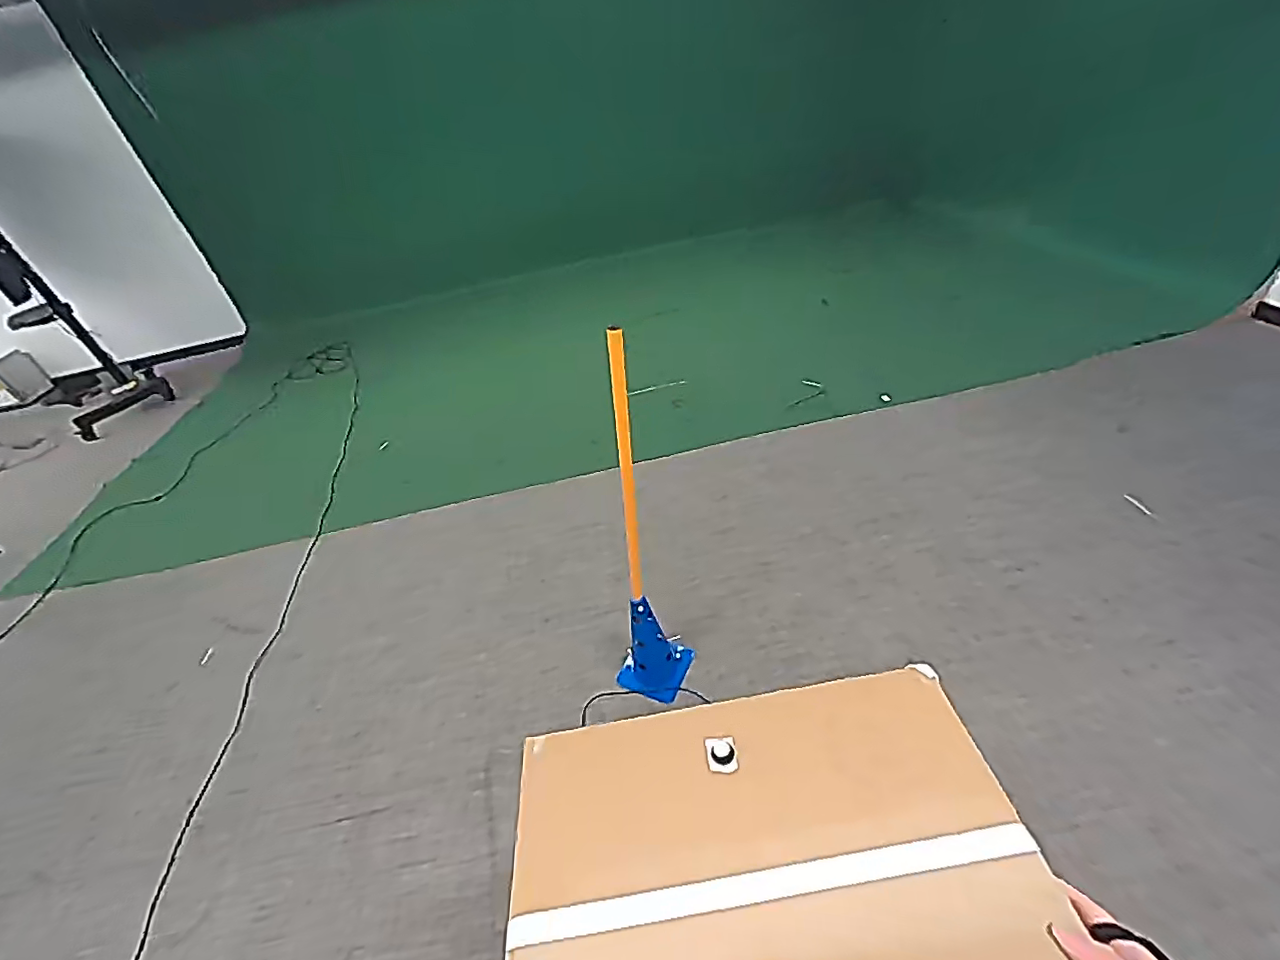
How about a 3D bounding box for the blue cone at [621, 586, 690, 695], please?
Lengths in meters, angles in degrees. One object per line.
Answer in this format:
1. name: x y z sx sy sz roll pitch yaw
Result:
1. blue cone: 0.023 0.448 1.603 0.192 0.380 0.193 10 42 24
